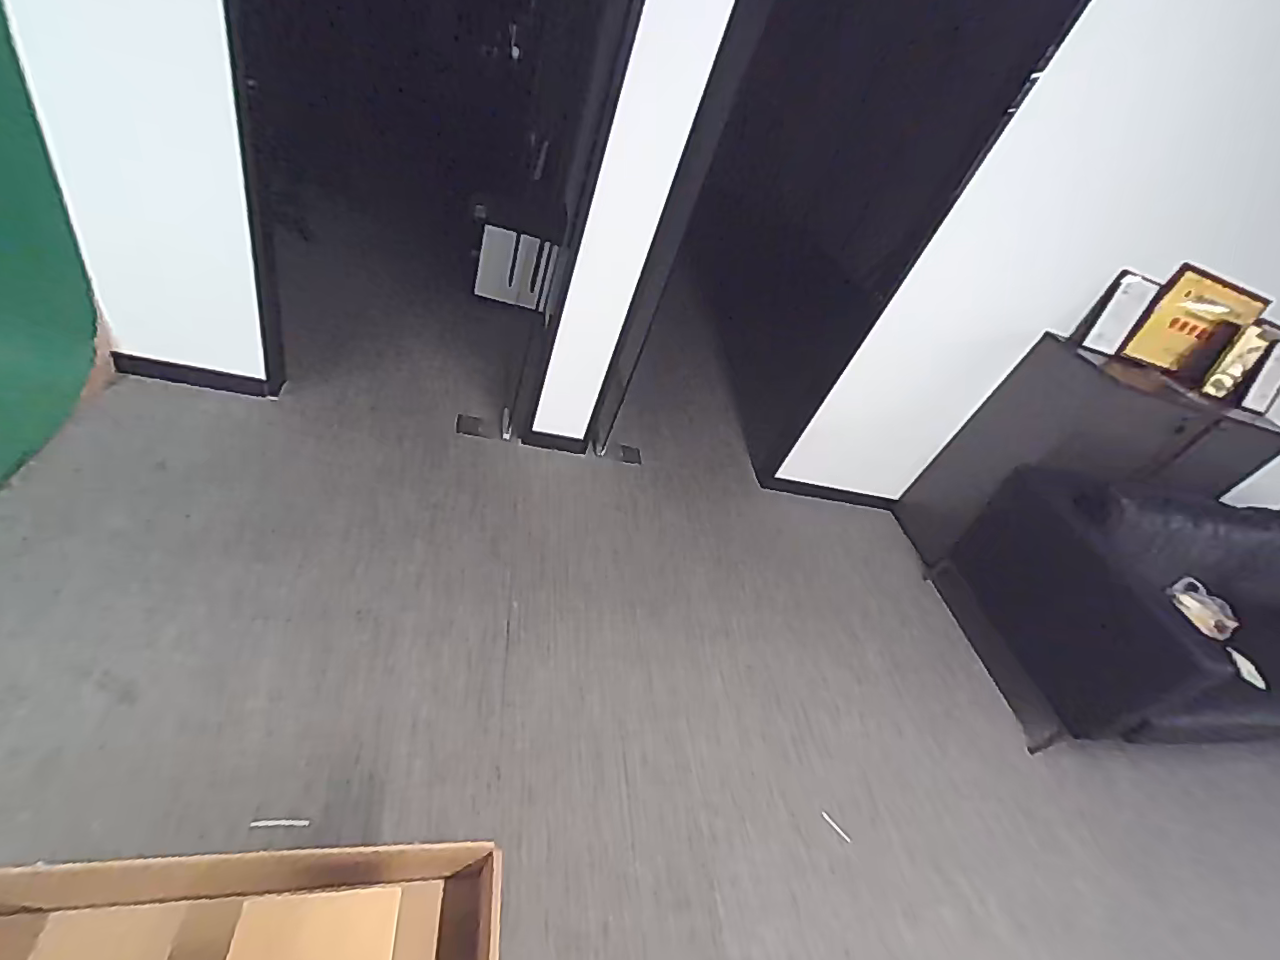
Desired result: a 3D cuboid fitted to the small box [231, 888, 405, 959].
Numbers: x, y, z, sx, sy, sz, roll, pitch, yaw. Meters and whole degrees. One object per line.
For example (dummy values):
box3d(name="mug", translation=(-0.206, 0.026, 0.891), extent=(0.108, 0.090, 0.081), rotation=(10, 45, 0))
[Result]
box3d(name="small box", translation=(-0.375, 0.596, 0.615), extent=(0.168, 0.176, 0.179), rotation=(9, 41, -18))
